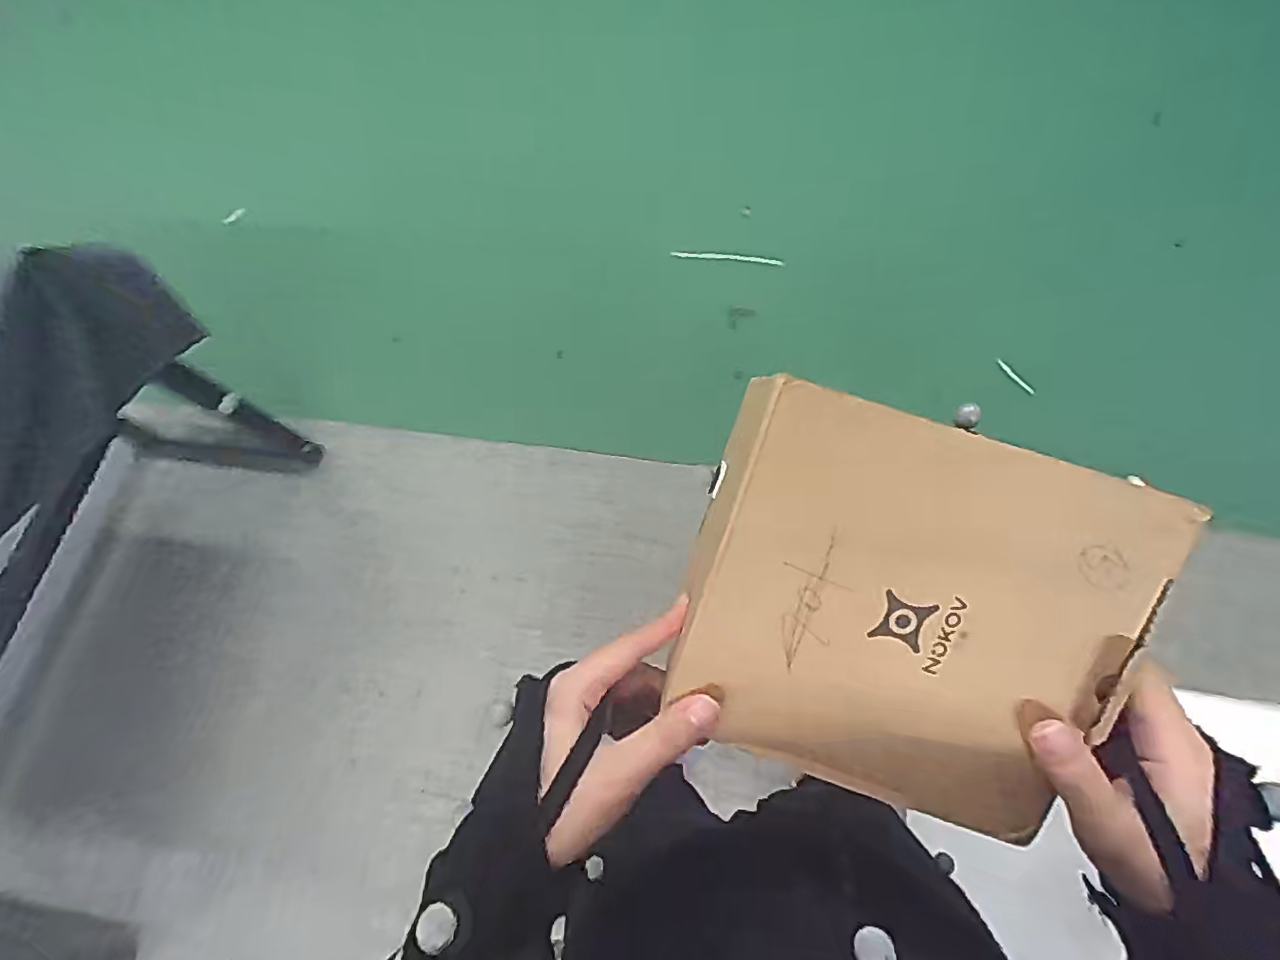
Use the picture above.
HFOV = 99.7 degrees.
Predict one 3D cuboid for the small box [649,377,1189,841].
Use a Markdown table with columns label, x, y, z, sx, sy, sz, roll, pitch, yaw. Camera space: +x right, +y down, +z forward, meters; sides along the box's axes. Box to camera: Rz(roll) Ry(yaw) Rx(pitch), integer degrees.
| label | x | y | z | sx | sy | sz | roll | pitch | yaw |
| --- | --- | --- | --- | --- | --- | --- | --- | --- | --- |
| small box | 0.116 | 0.046 | 0.304 | 0.179 | 0.176 | 0.168 | 16 | 99 | 4 |
